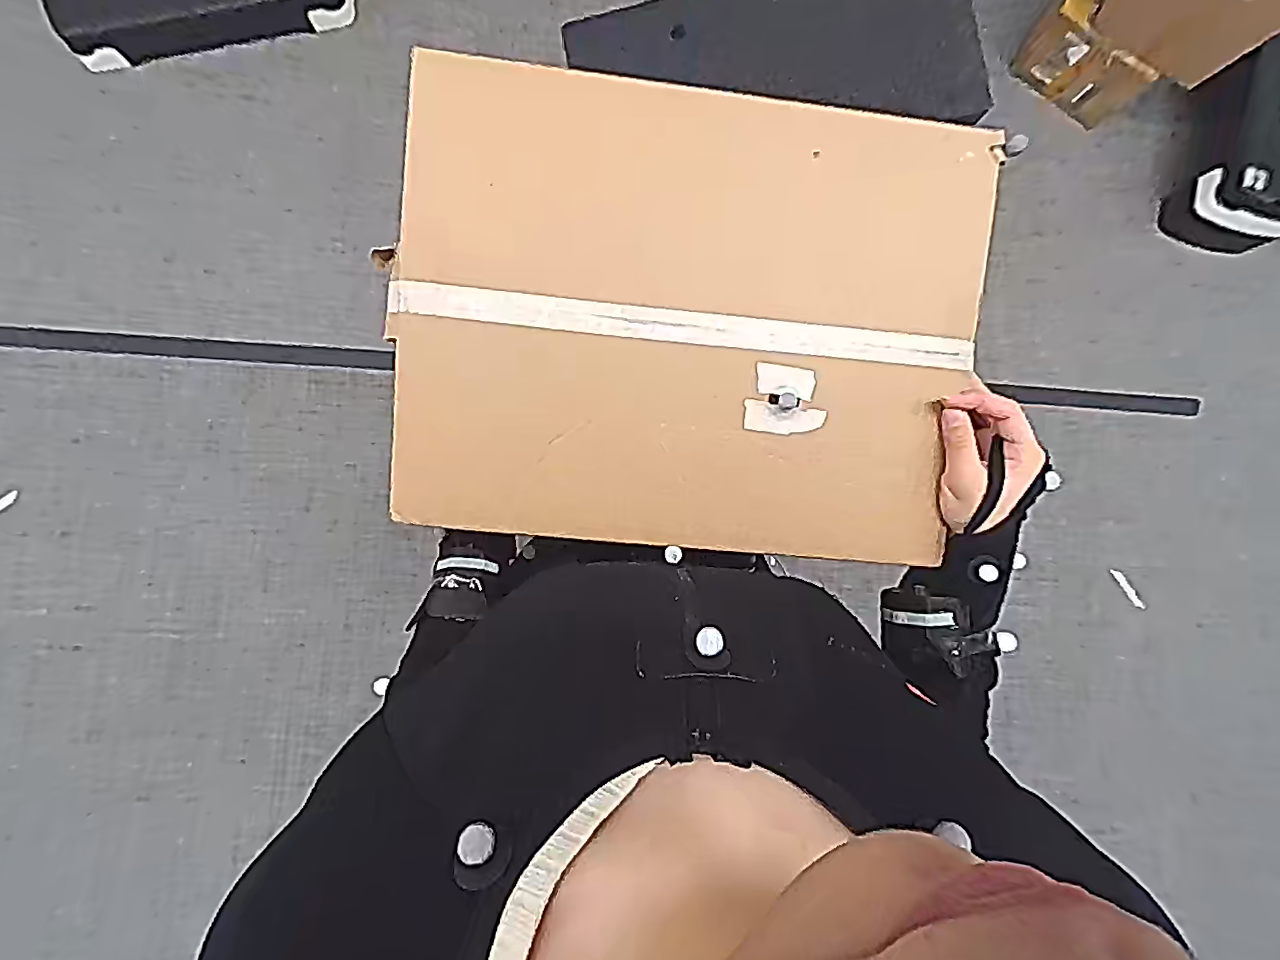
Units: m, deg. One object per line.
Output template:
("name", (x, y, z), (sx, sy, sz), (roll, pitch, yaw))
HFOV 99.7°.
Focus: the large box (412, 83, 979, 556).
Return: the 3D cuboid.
("large box", (0.029, -0.116, 0.538), (0.408, 0.320, 0.320), (4, 95, -5))
